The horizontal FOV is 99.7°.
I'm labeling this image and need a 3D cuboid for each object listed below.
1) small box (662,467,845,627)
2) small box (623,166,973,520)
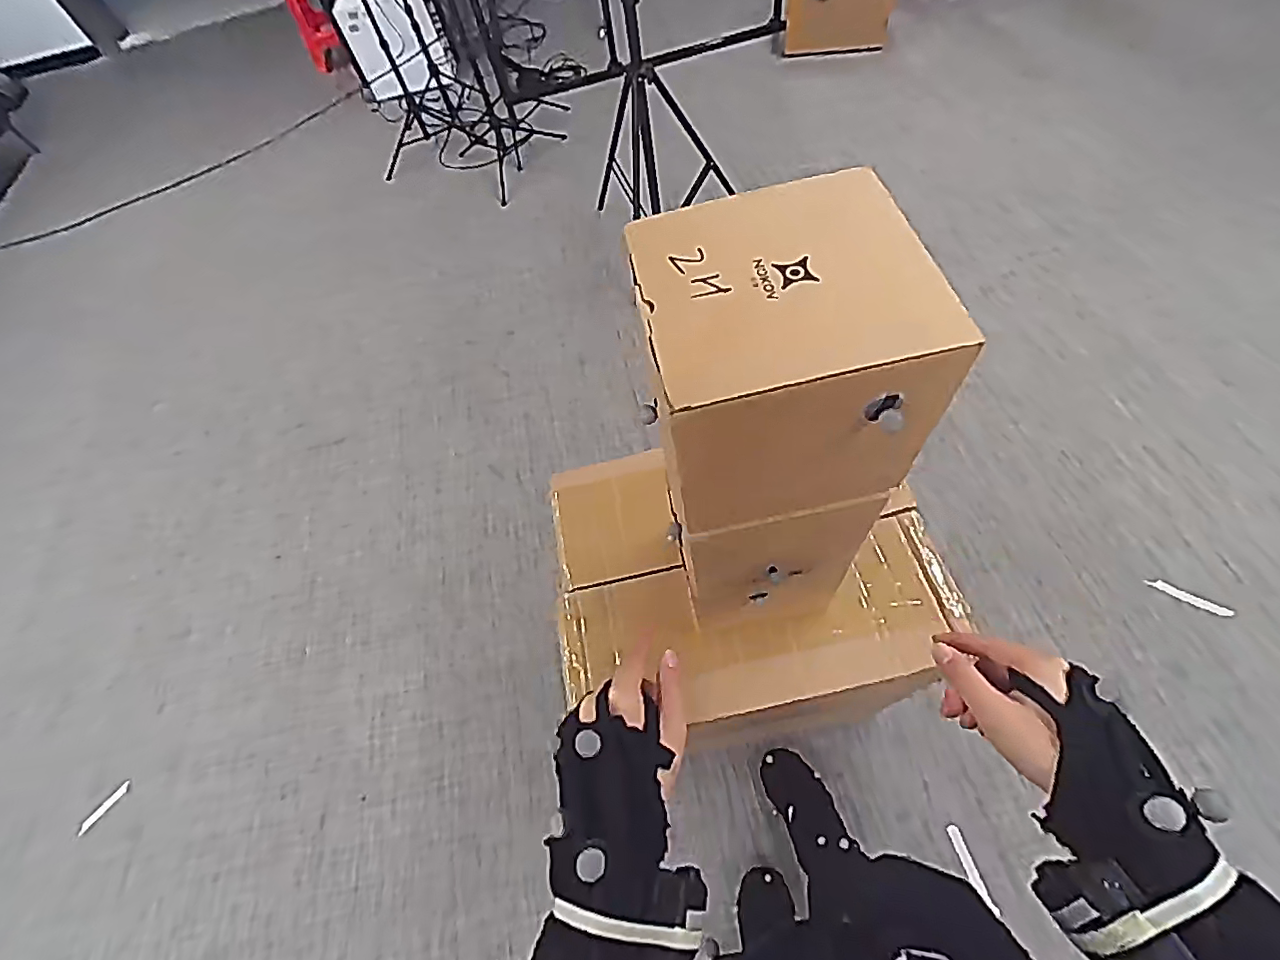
[{"bbox_3d":[0.135,0.075,0.686,0.179,0.176,0.168,-12,60,2],"label":"small box"},{"bbox_3d":[0.094,-0.089,0.403,0.179,0.176,0.168,-13,60,2],"label":"small box"}]
